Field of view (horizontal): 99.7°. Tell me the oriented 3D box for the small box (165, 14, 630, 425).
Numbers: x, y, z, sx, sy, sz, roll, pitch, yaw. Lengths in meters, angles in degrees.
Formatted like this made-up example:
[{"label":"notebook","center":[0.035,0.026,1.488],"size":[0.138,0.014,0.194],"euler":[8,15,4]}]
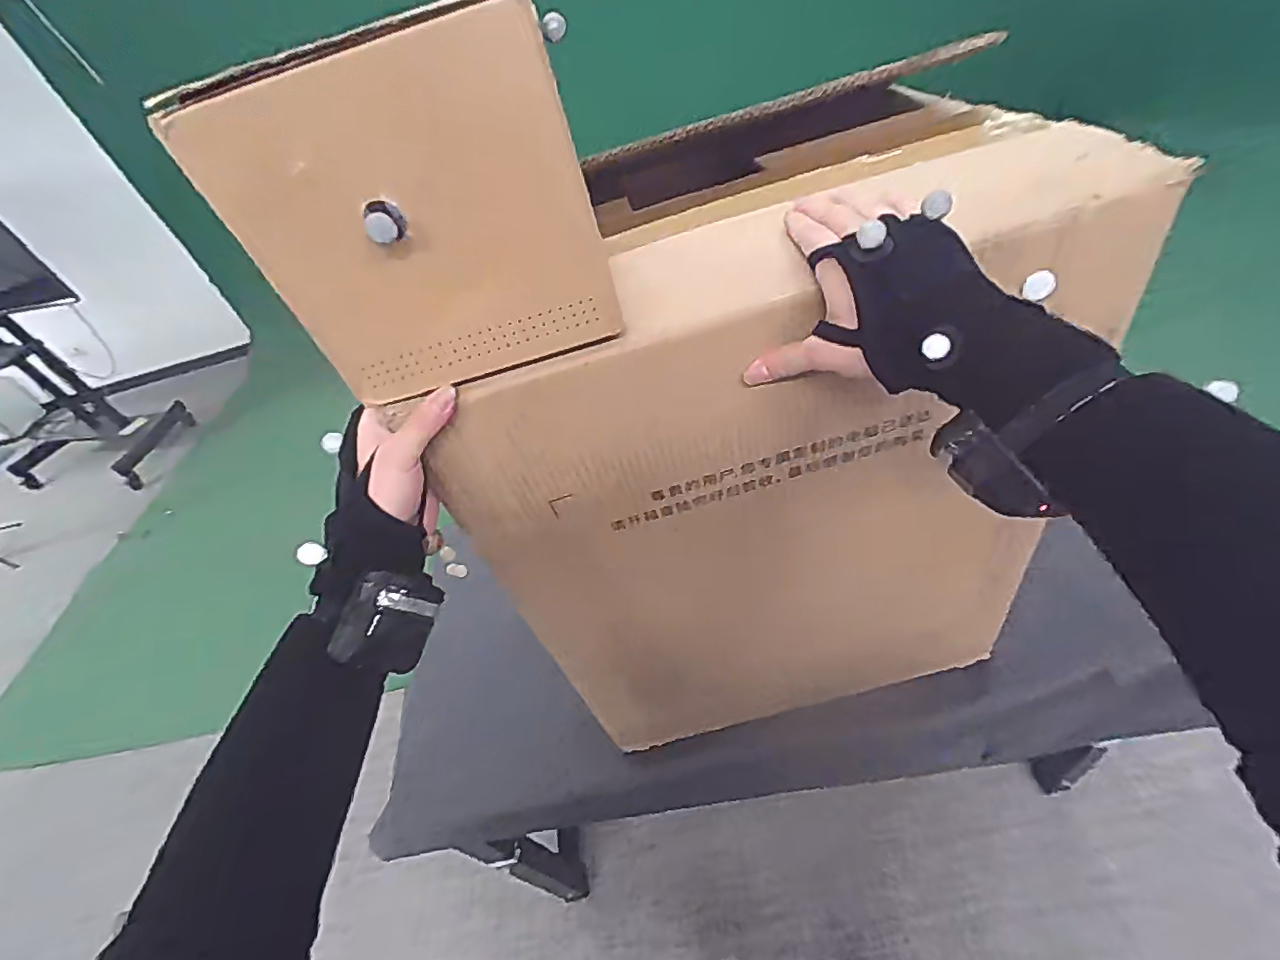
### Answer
[{"label":"small box","center":[-0.119,-0.159,0.344],"size":[0.179,0.176,0.168],"euler":[-16,44,4]}]
